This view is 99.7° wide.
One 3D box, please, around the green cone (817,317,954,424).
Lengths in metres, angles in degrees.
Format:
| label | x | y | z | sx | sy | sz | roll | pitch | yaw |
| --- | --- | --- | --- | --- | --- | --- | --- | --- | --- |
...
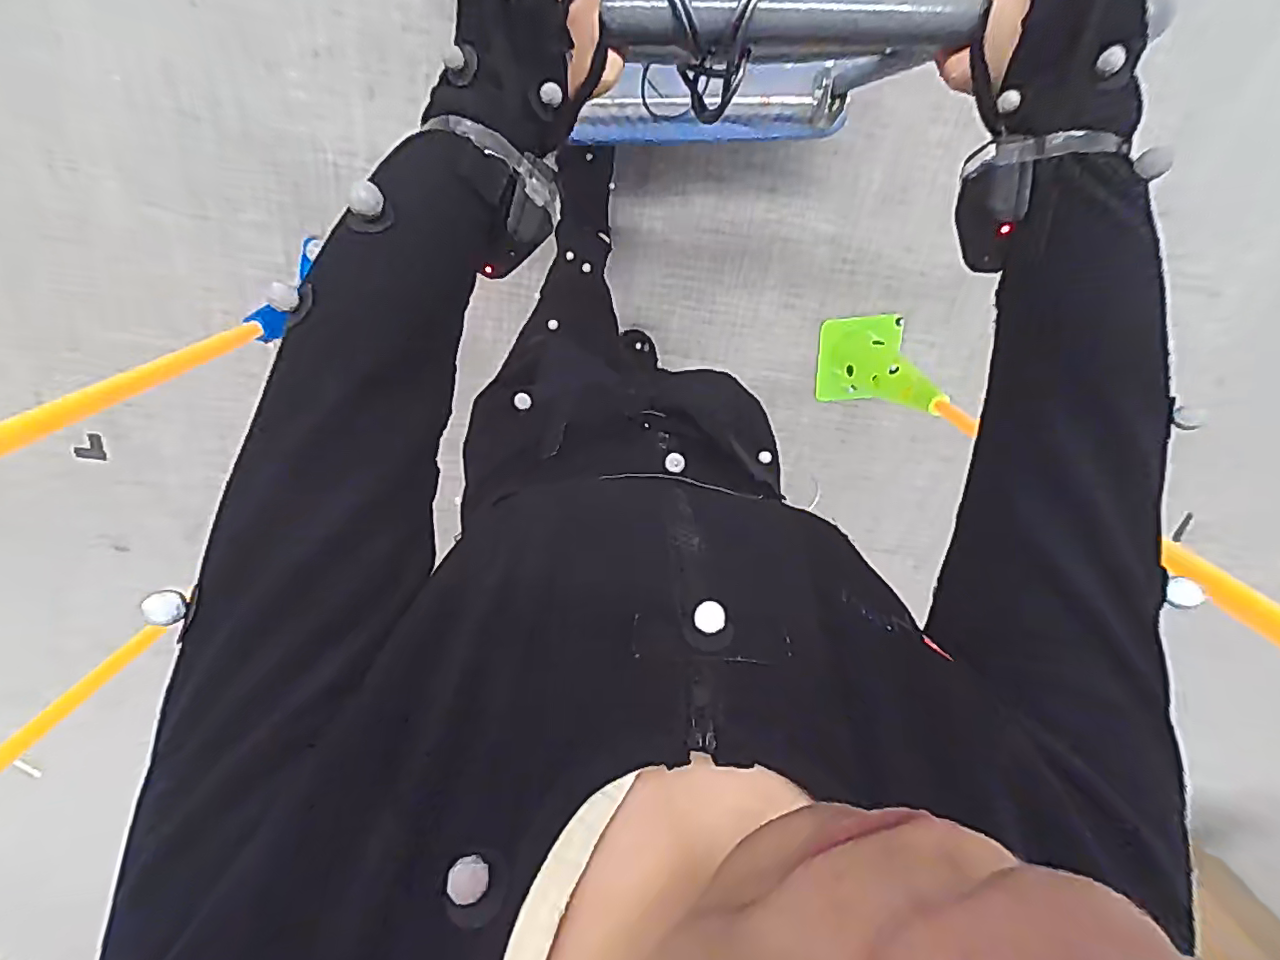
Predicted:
| label | x | y | z | sx | sy | sz | roll | pitch | yaw |
| --- | --- | --- | --- | --- | --- | --- | --- | --- | --- |
| green cone | 0.540 | -0.206 | 1.146 | 0.200 | 0.368 | 0.202 | -6 | 117 | -1 |
